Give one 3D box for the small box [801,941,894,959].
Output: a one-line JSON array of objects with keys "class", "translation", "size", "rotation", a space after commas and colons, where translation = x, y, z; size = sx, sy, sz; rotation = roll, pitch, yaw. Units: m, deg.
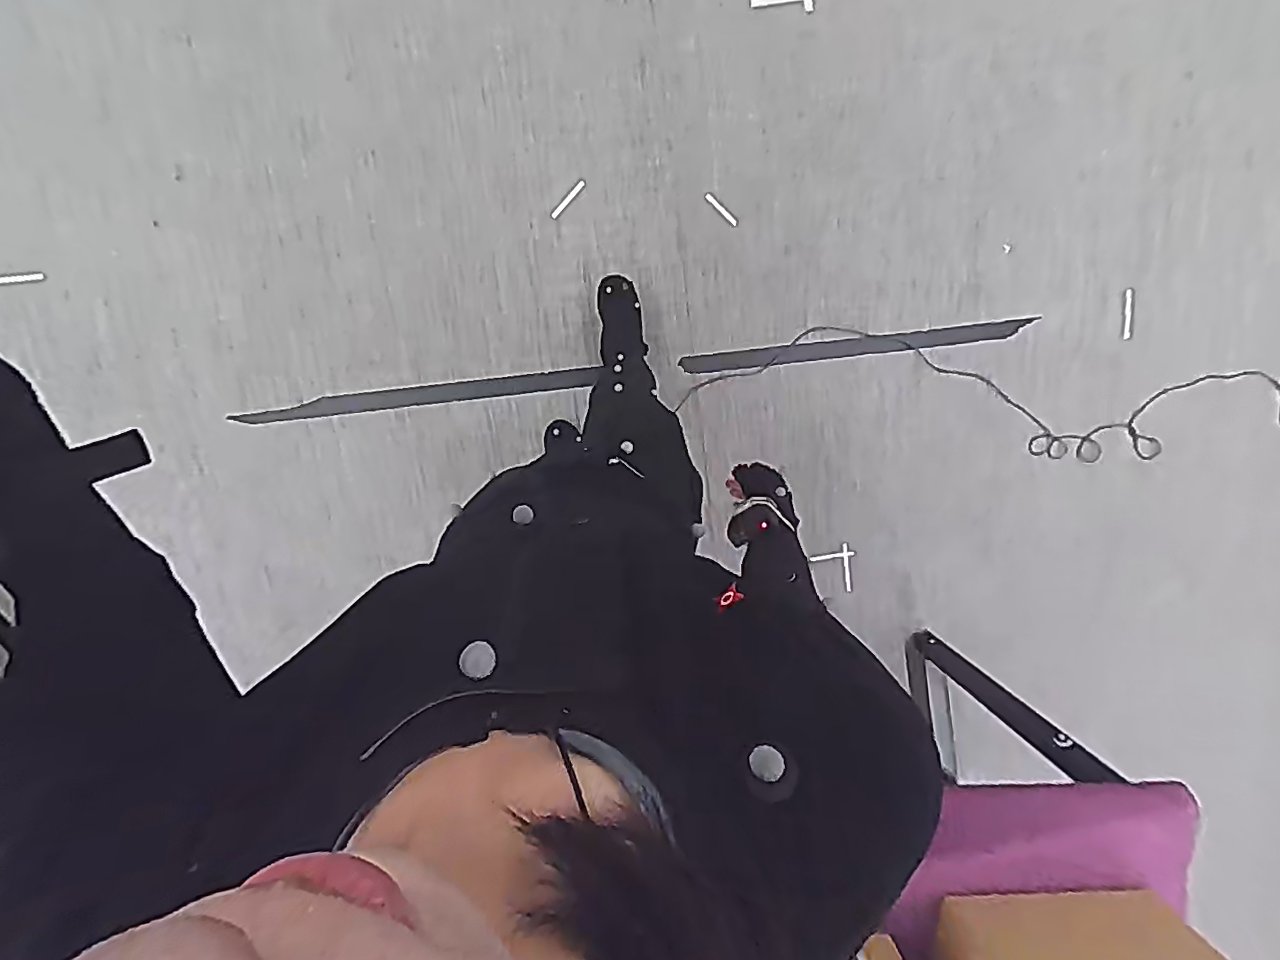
[{"class": "small box", "translation": [0.363, 0.905, 0.879], "size": [0.168, 0.176, 0.179], "rotation": [2, 99, -5]}]
